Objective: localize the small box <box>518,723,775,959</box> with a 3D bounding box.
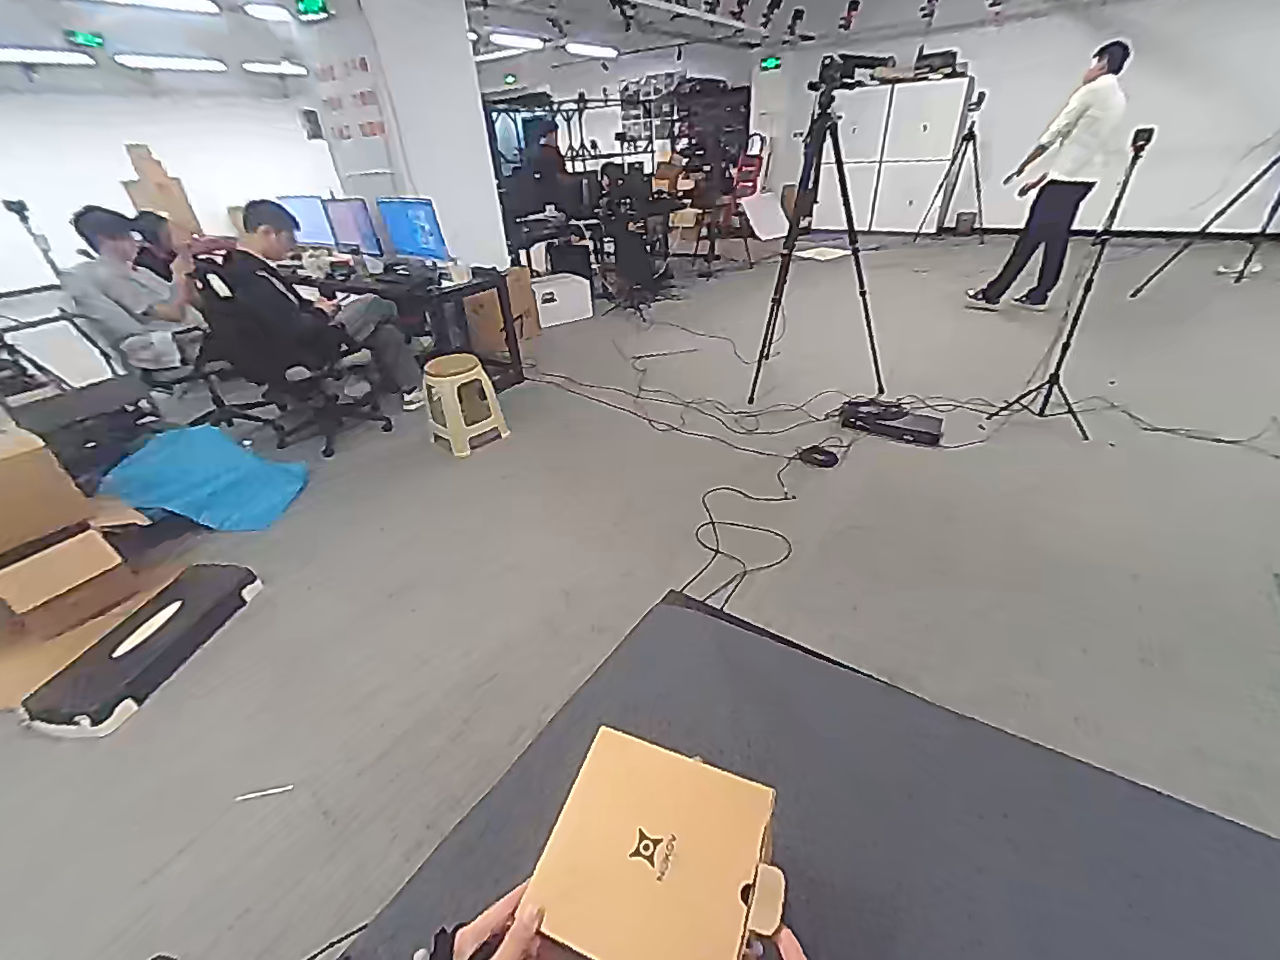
[{"bbox_3d":[0.018,0.368,0.505,0.179,0.176,0.168,11,42,20],"label":"small box"}]
